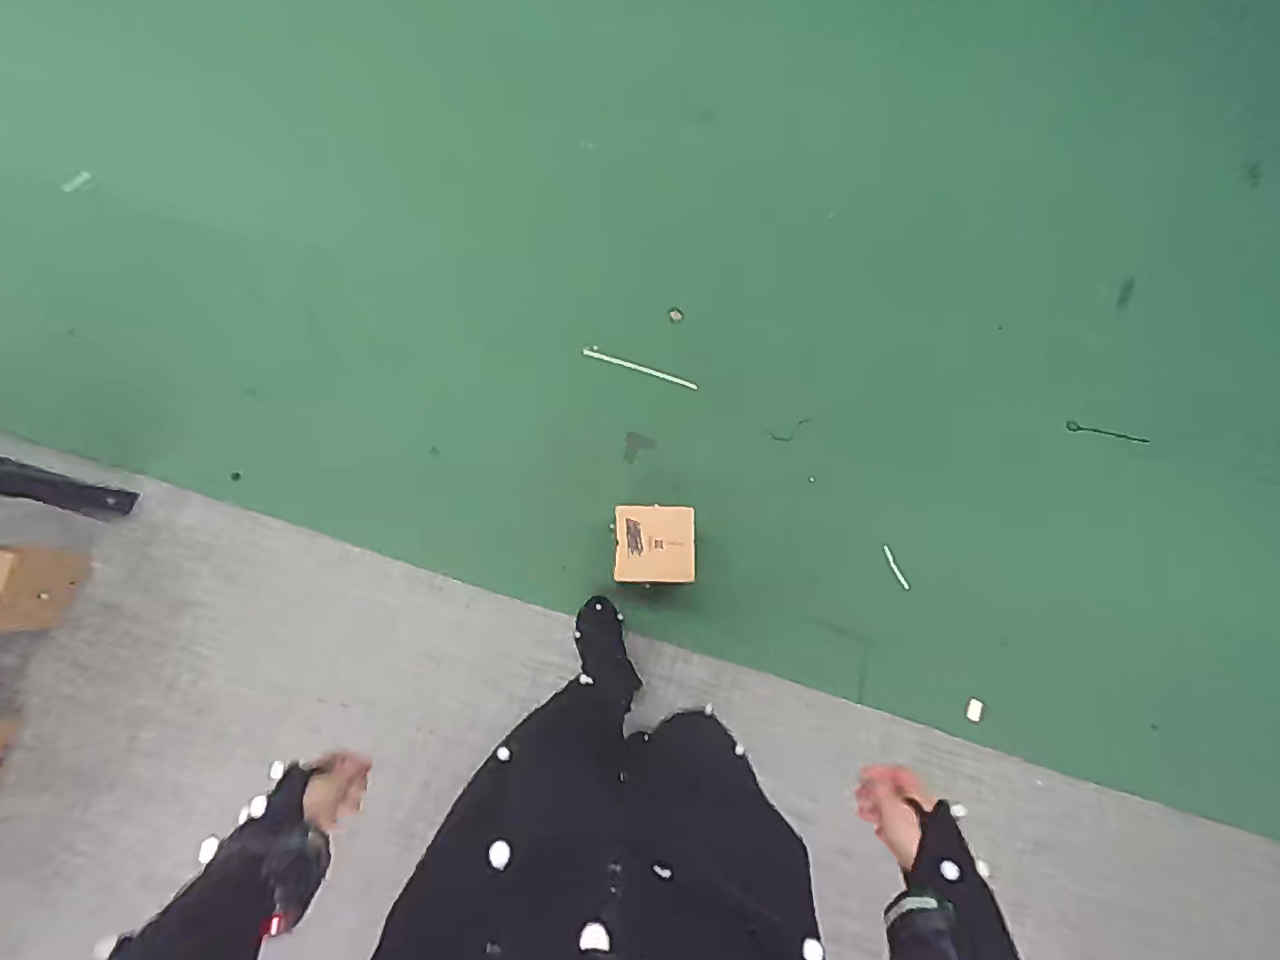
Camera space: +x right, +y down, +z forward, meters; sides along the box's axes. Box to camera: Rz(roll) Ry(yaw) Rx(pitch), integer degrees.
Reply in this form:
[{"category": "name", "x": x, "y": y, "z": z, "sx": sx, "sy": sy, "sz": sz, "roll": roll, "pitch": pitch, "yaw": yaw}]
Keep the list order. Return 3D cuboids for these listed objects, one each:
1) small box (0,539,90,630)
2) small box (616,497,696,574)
[{"category": "small box", "x": -1.395, "y": 0.224, "z": 1.192, "sx": 0.179, "sy": 0.176, "sz": 0.168, "roll": 12, "pitch": 79, "yaw": 0}, {"category": "small box", "x": 0.033, "y": 0.134, "z": 1.259, "sx": 0.179, "sy": 0.176, "sz": 0.168, "roll": 1, "pitch": 80, "yaw": -3}]
